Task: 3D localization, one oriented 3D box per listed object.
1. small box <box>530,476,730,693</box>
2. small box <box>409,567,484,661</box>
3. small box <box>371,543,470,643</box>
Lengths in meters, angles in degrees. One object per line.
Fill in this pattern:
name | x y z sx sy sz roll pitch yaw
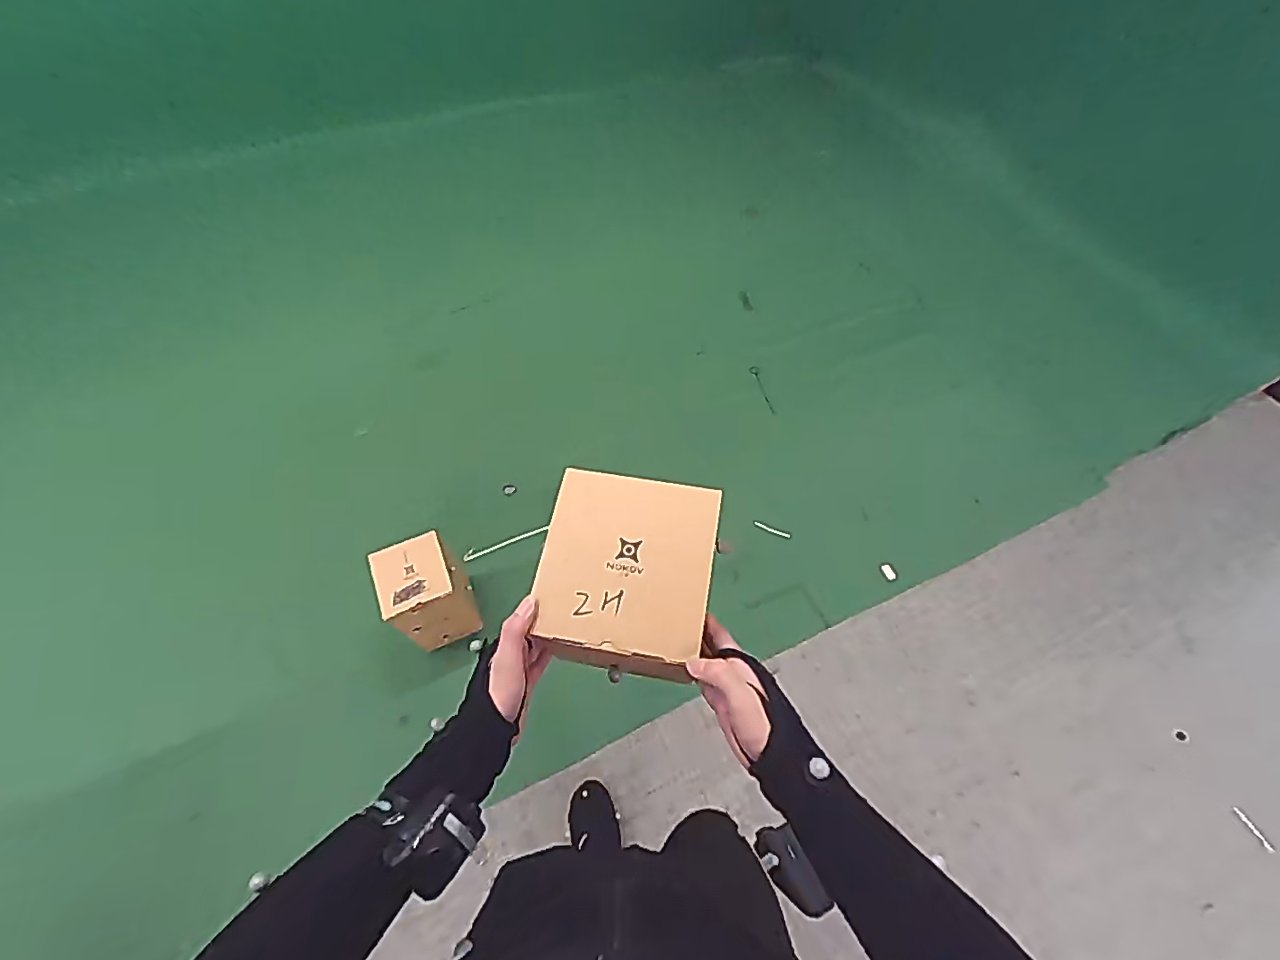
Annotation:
small box | -0.002 0.119 0.589 0.168 0.176 0.179 9 64 8
small box | -0.546 0.372 1.492 0.168 0.176 0.179 -21 63 -14
small box | -0.541 0.289 1.351 0.168 0.176 0.179 -21 62 -14
